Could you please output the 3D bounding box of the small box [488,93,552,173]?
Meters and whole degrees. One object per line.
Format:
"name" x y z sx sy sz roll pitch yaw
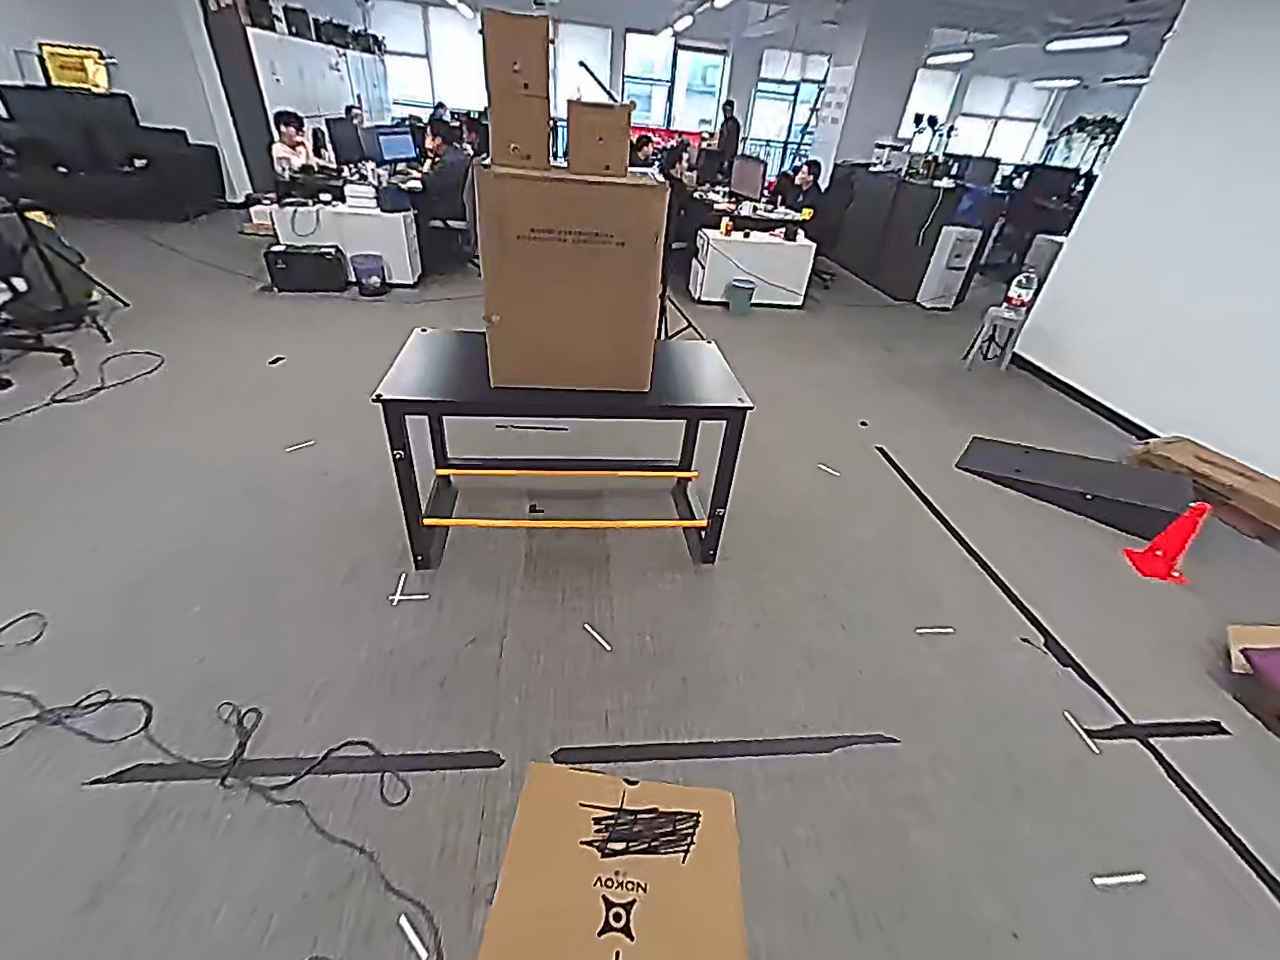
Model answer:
"small box" -0.338 -0.980 1.523 0.168 0.176 0.179 -3 37 -12

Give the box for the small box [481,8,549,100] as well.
"small box" -0.325 -1.113 1.426 0.168 0.176 0.179 -1 36 -11

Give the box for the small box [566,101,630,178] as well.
"small box" -0.121 -0.964 1.530 0.168 0.176 0.179 -2 37 -10
